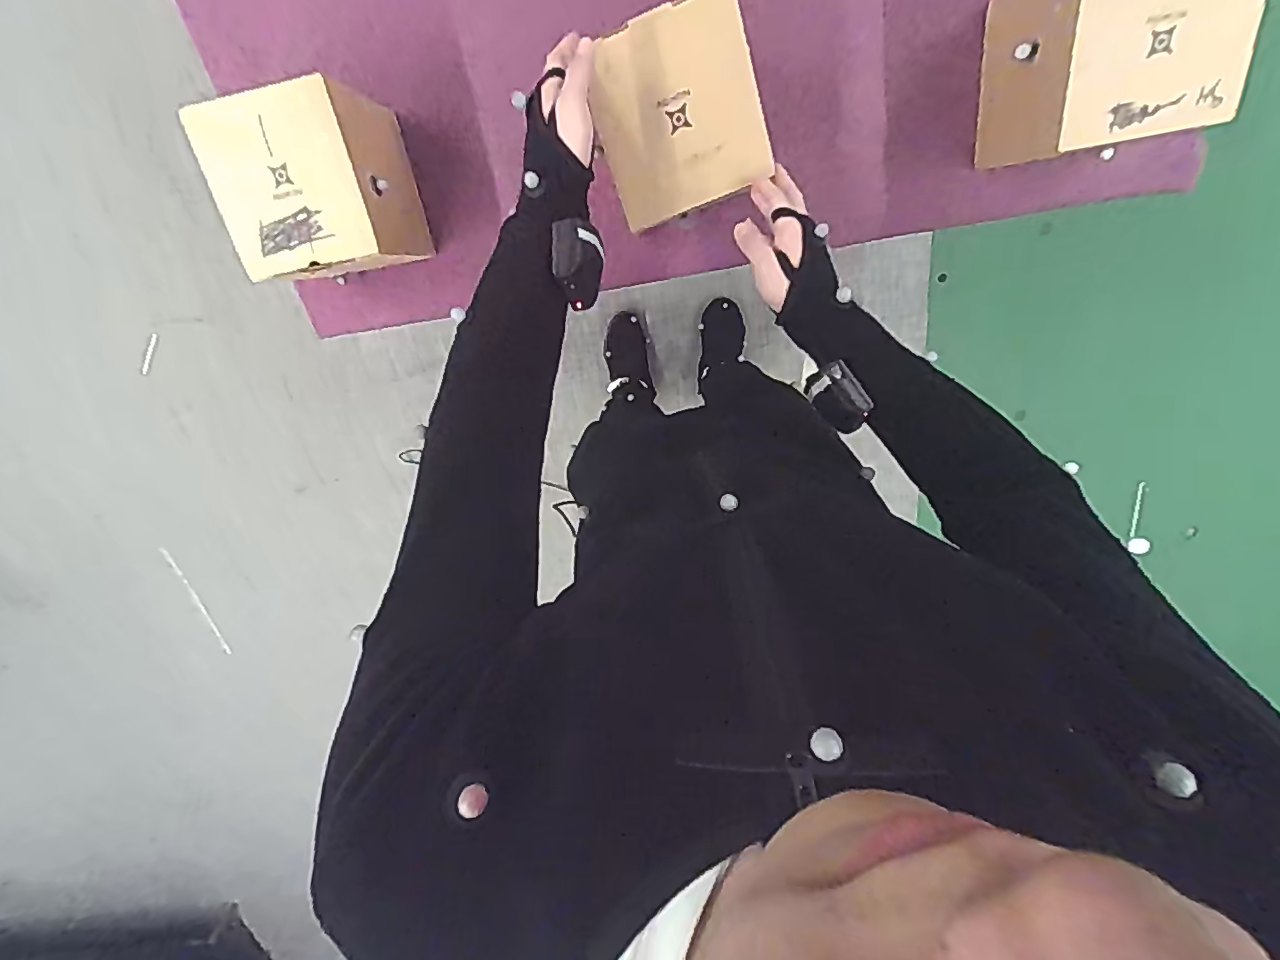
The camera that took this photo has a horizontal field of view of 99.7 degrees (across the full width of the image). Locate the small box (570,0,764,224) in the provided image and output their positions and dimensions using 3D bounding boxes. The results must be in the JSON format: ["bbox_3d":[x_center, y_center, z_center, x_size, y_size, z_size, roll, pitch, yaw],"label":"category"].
[{"bbox_3d":[0.035,-0.413,0.629,0.168,0.176,0.179,-15,113,11],"label":"small box"}]

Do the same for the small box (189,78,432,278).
[{"bbox_3d":[-0.388,-0.363,0.678,0.168,0.176,0.179,-8,112,7],"label":"small box"}]

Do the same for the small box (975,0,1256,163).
[{"bbox_3d":[0.486,-0.459,0.576,0.168,0.176,0.179,-7,114,8],"label":"small box"}]
